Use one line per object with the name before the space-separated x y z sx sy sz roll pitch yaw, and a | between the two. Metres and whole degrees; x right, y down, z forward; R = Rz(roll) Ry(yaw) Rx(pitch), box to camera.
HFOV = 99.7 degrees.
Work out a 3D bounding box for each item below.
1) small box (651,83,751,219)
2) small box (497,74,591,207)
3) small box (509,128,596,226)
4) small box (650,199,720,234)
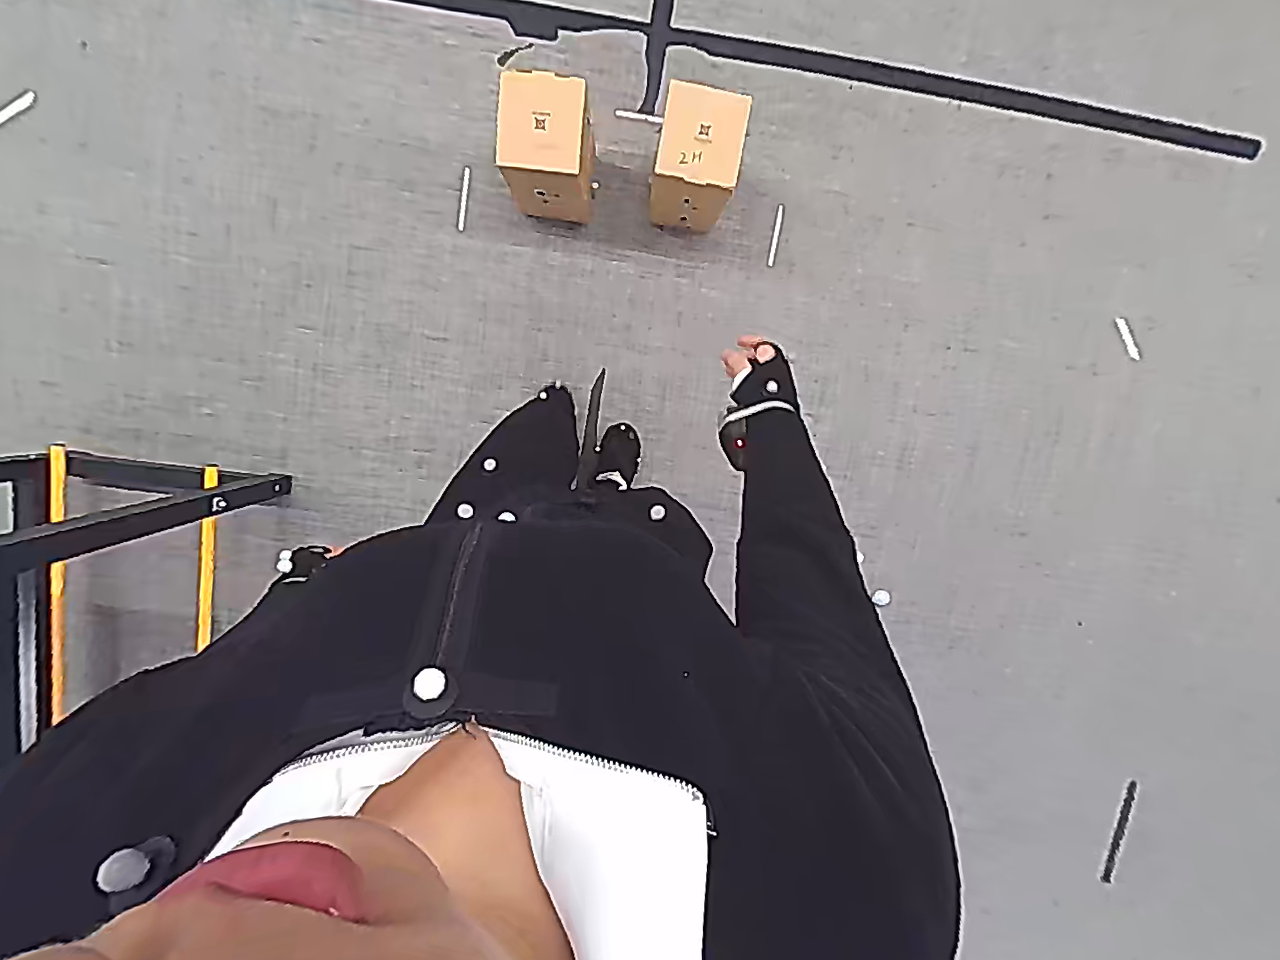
small box | 0.119 -0.684 1.143 0.168 0.176 0.179 10 98 -3
small box | -0.193 -0.699 1.131 0.168 0.176 0.179 5 100 -1
small box | -0.202 -0.726 1.291 0.179 0.176 0.168 7 98 -3
small box | 0.118 -0.715 1.307 0.168 0.176 0.179 9 99 -3
